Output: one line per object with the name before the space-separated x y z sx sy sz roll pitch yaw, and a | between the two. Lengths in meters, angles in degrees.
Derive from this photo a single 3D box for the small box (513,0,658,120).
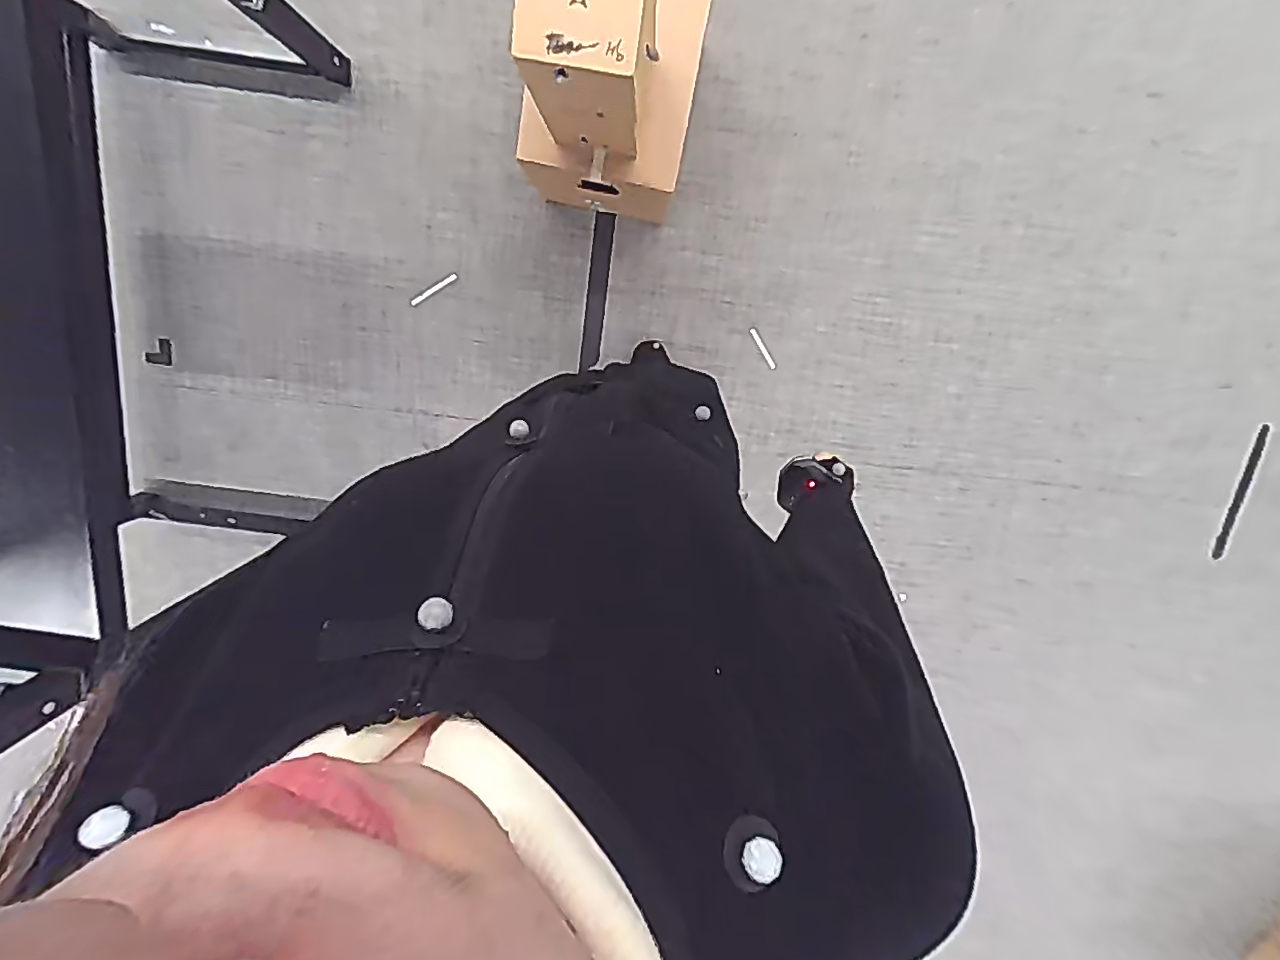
small box | -0.067 -0.645 0.754 0.168 0.176 0.179 10 104 0

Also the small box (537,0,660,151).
small box | -0.066 -0.692 0.911 0.168 0.176 0.179 11 105 -1

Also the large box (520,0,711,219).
large box | -0.045 -0.816 1.131 0.320 0.320 0.408 11 104 -4
